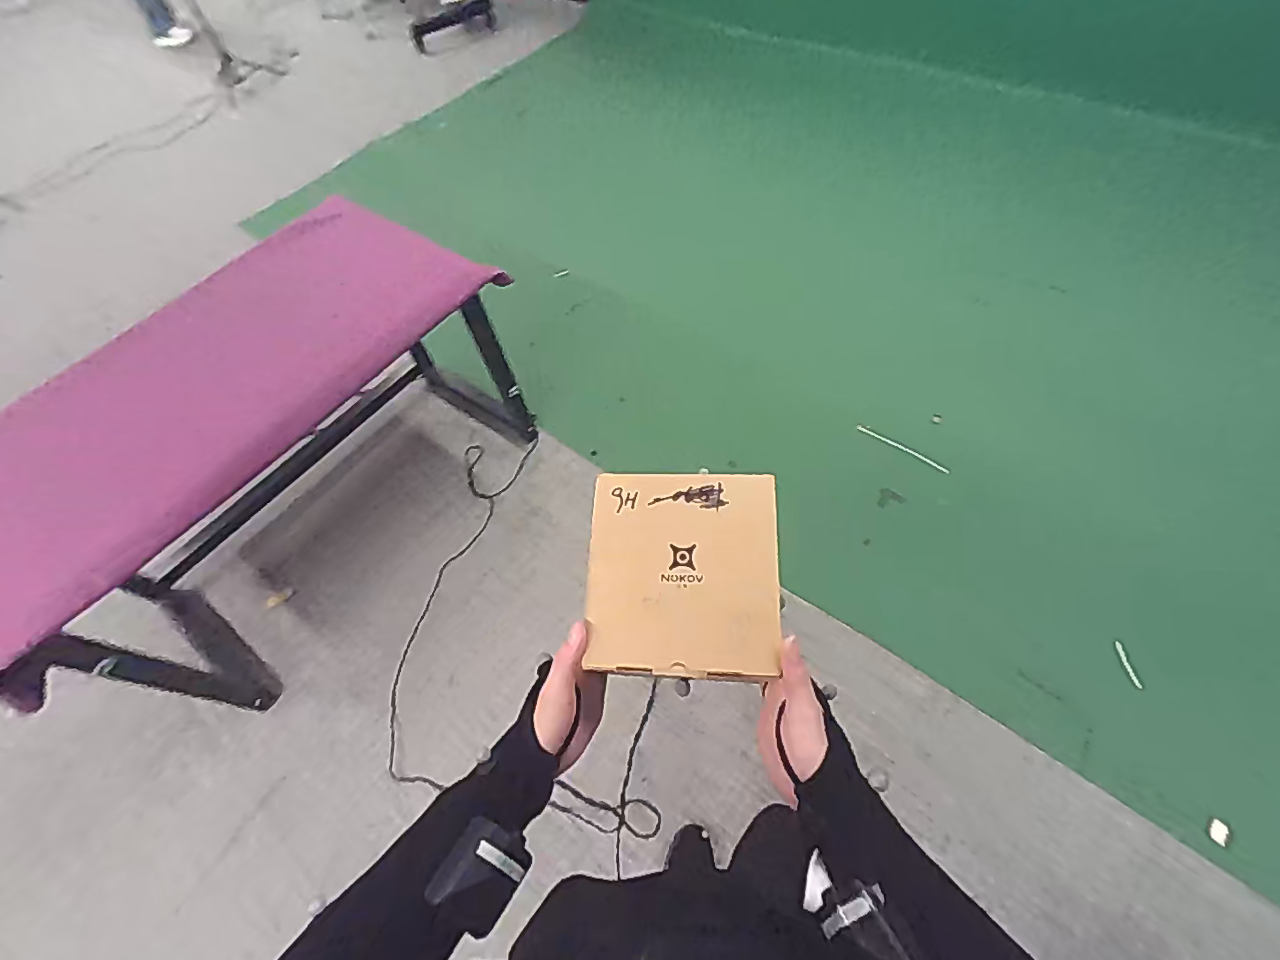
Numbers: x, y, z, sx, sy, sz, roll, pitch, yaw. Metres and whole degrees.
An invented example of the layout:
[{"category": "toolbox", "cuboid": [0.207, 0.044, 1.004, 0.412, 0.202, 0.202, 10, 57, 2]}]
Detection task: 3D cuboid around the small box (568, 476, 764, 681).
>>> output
[{"category": "small box", "cuboid": [0.033, 0.105, 0.542, 0.168, 0.176, 0.179, 0, 69, 7]}]
